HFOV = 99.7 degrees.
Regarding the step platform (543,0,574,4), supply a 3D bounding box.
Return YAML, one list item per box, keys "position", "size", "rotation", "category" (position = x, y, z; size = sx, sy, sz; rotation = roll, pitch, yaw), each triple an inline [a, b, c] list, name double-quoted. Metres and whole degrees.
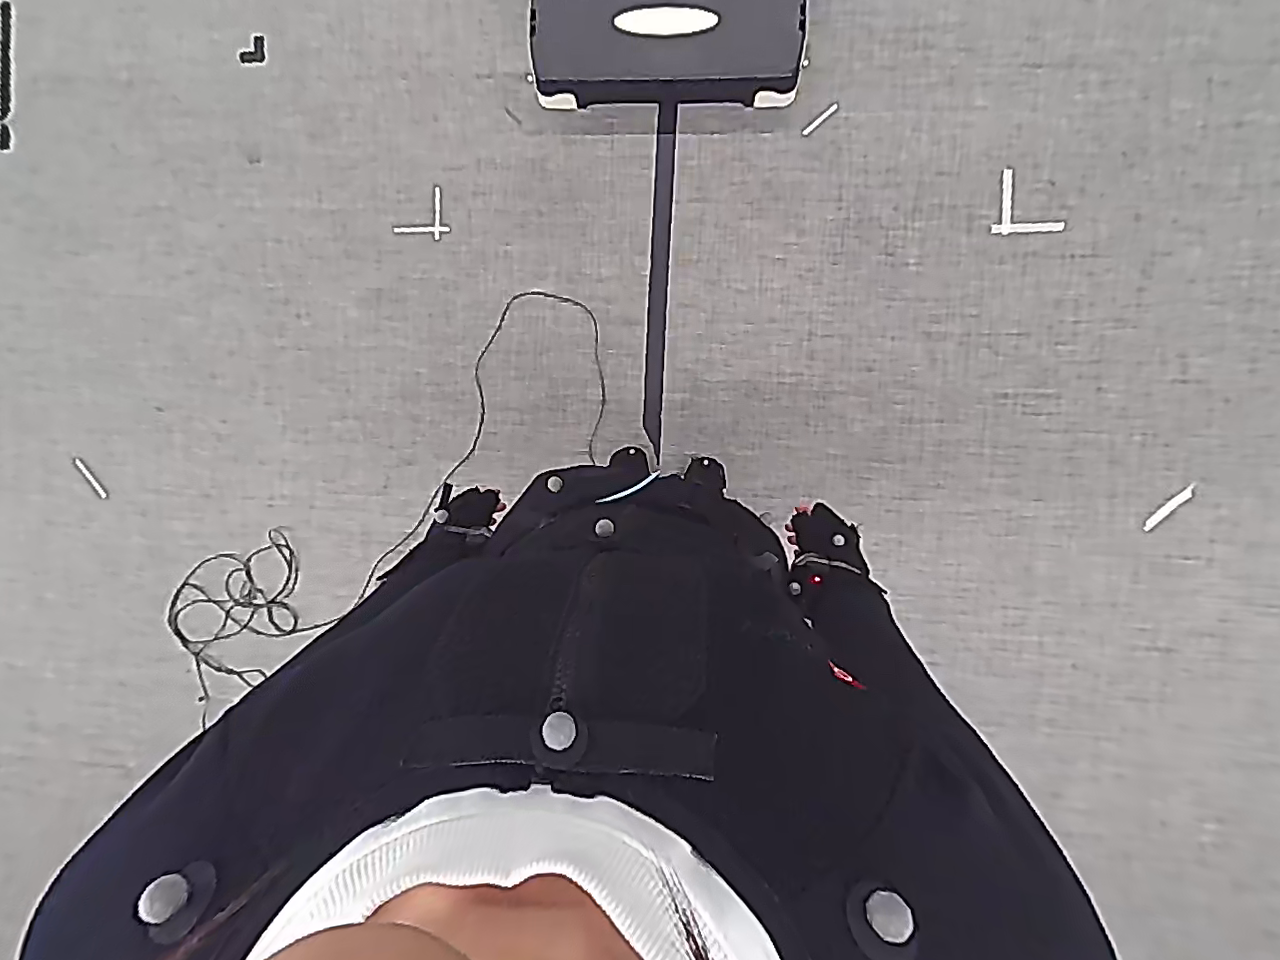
- position: [0.051, -1.359, 1.276]
  size: [0.684, 0.204, 0.286]
  rotation: [1, 94, 3]
  category: "step platform"
